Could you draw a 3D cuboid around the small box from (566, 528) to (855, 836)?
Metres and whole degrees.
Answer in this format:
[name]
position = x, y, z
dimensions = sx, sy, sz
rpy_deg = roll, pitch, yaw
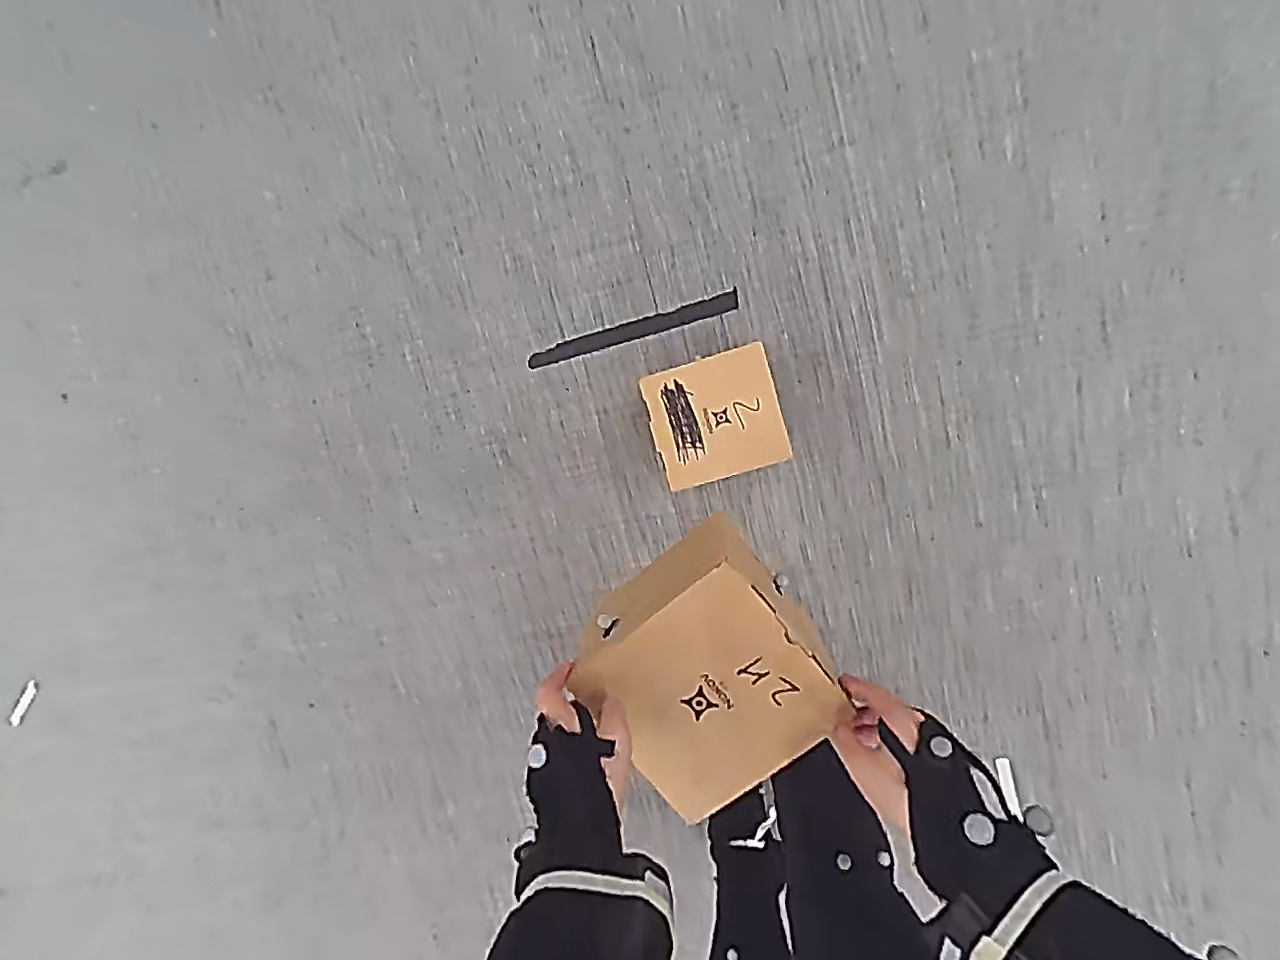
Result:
[small box]
position = 0.062, 0.172, 0.510
dimensions = 0.179, 0.176, 0.168
rpy_deg = -40, 94, 9
